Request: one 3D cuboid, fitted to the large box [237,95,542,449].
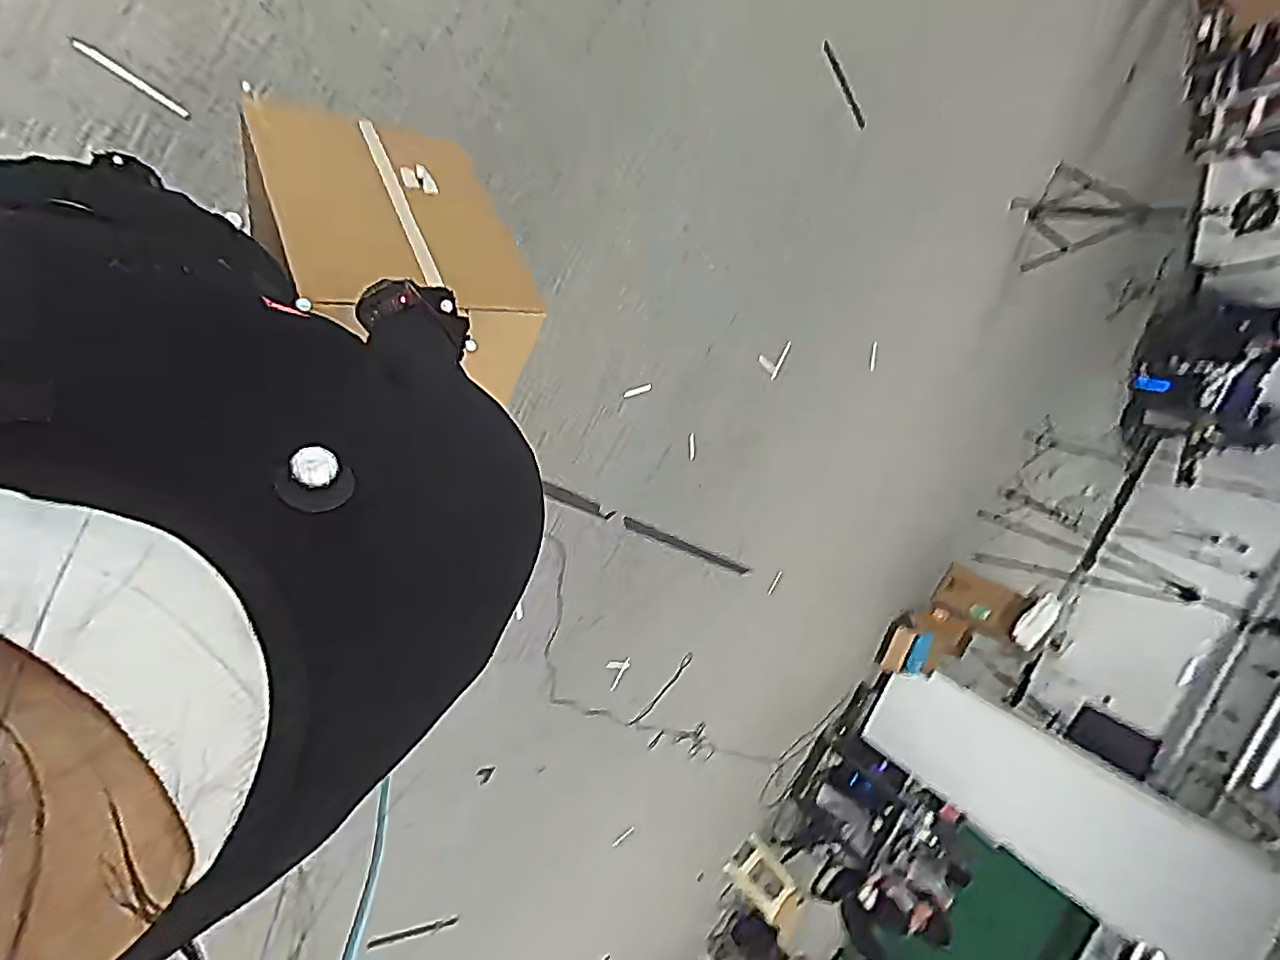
[{"bbox_3d":[-0.415,-0.310,0.875,0.320,0.408,0.320,-11,154,-40],"label":"large box"}]
